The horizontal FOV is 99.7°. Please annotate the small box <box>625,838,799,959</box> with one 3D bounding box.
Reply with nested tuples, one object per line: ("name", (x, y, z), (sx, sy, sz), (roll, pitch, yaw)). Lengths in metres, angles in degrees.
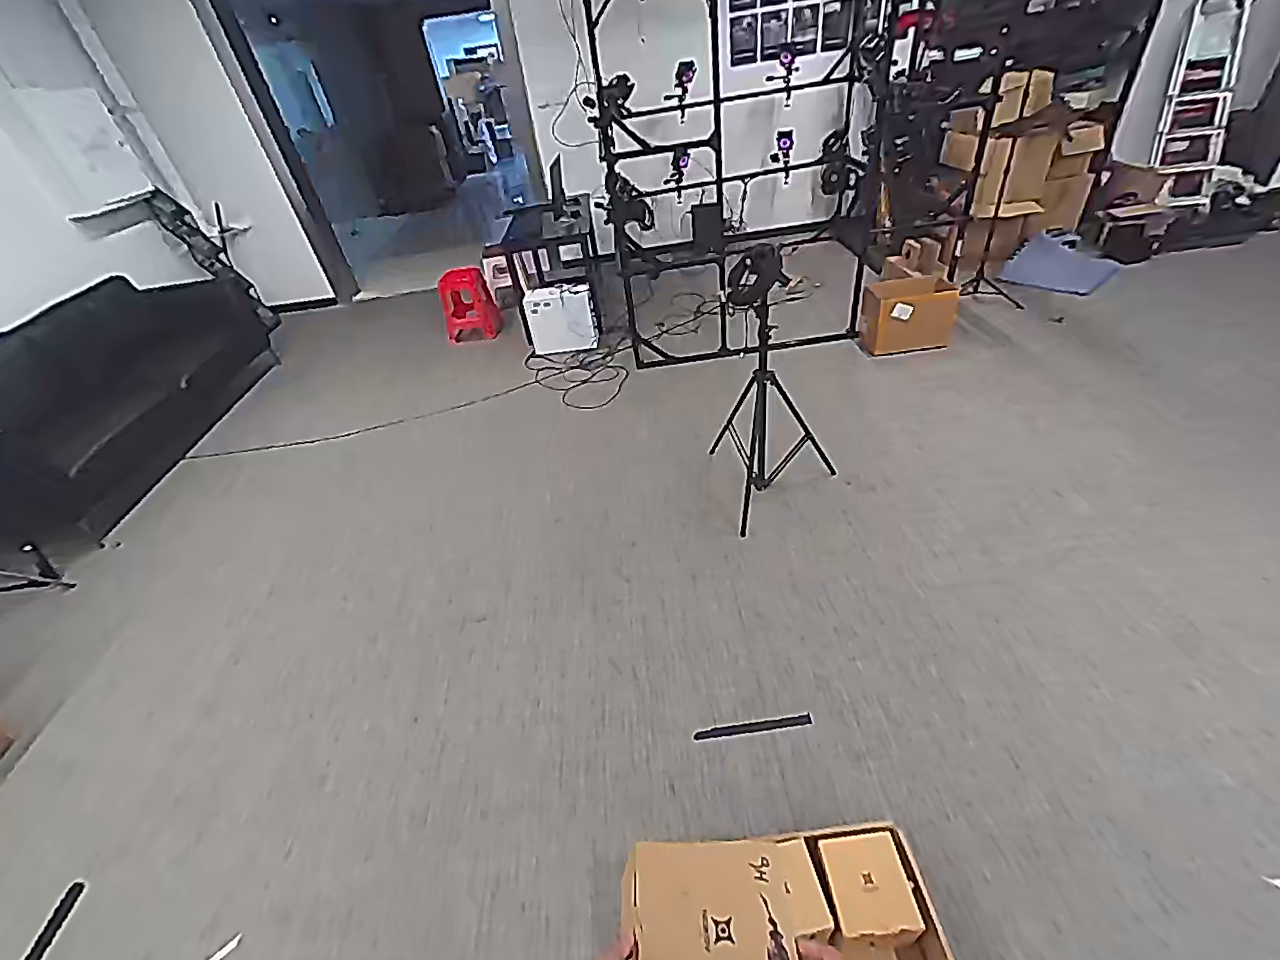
("small box", (0.072, 0.536, 0.626), (0.179, 0.176, 0.168), (3, 41, -5))
